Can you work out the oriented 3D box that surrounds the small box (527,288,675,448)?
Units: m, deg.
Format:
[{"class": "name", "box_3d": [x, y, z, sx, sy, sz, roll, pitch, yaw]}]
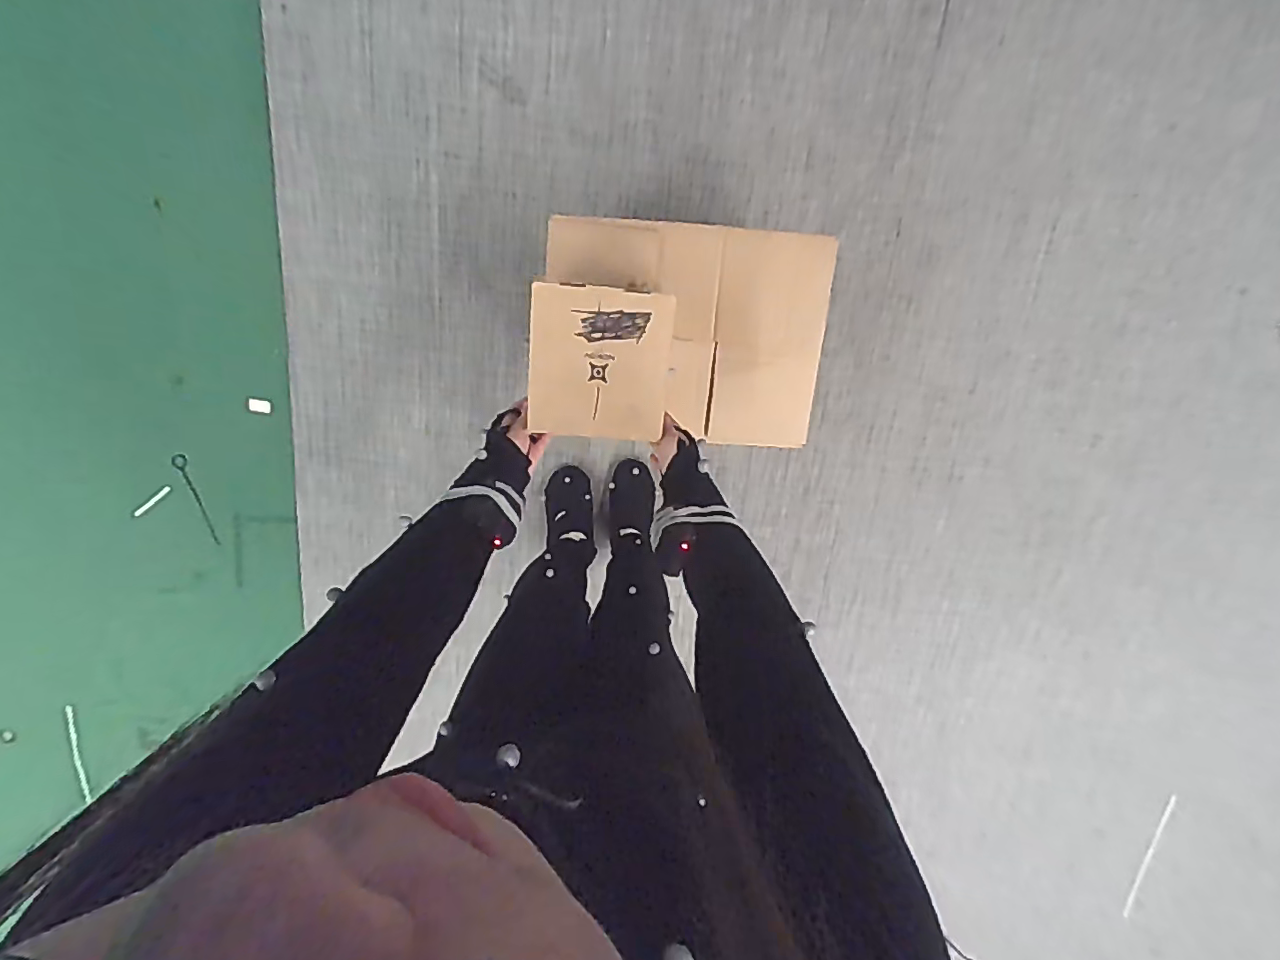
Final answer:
[{"class": "small box", "box_3d": [-0.053, -0.154, 0.722, 0.168, 0.176, 0.179, 5, 108, -3]}]
